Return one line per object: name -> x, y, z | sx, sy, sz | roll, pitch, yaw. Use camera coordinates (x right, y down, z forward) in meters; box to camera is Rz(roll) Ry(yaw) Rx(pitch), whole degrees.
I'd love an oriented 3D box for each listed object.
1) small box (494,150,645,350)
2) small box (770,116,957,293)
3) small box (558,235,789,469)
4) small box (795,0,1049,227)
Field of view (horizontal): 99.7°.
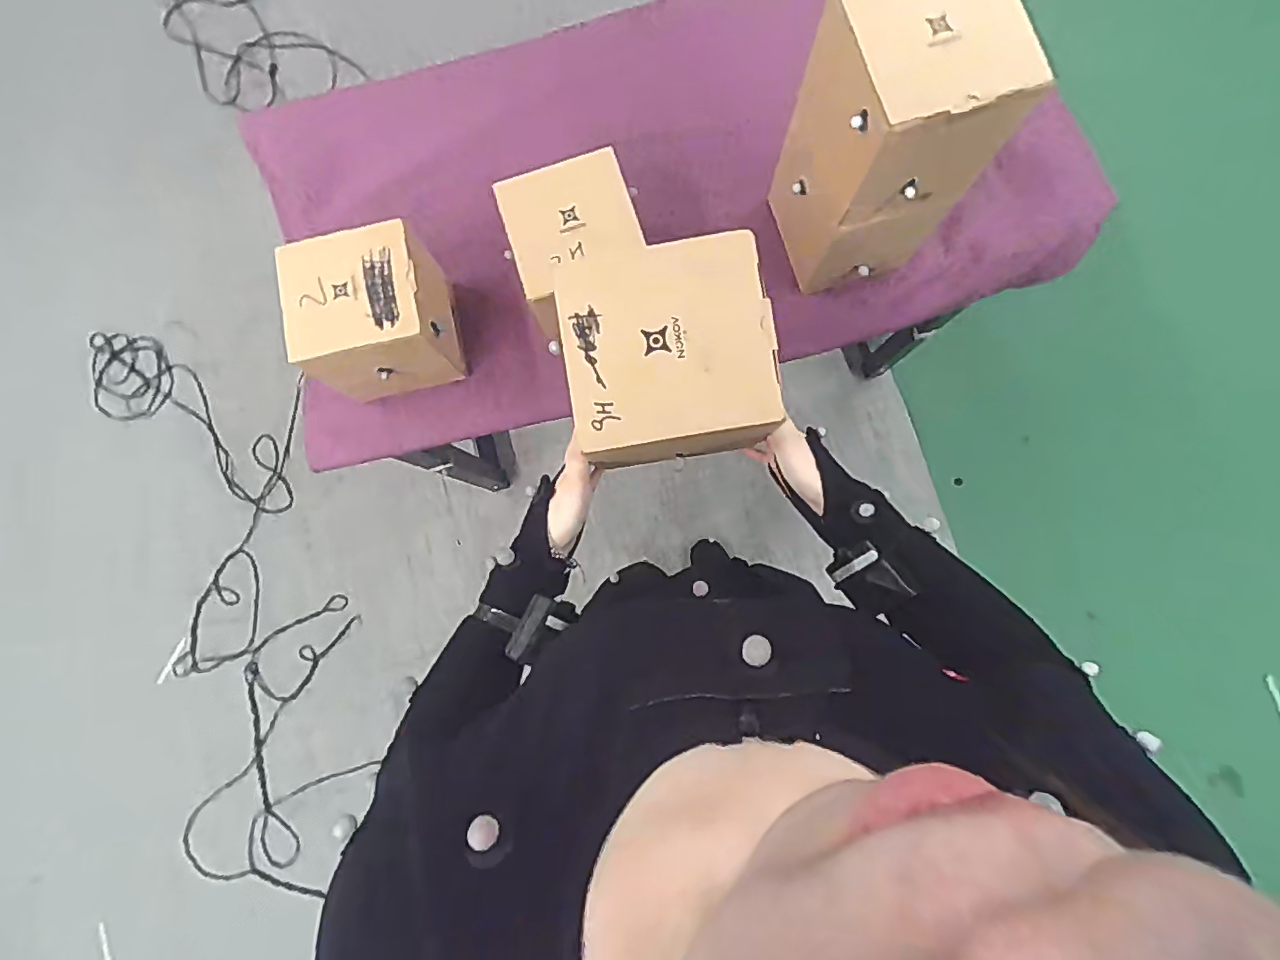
small box -> -0.087, -0.314, 0.769 | 0.168, 0.176, 0.179 | -18, 81, 0
small box -> 0.299, -0.400, 0.768 | 0.168, 0.176, 0.179 | -17, 82, 0
small box -> 0.027, -0.108, 0.526 | 0.179, 0.176, 0.168 | -8, 85, 1
small box -> 0.293, -0.427, 0.608 | 0.168, 0.176, 0.179 | -17, 82, 0
